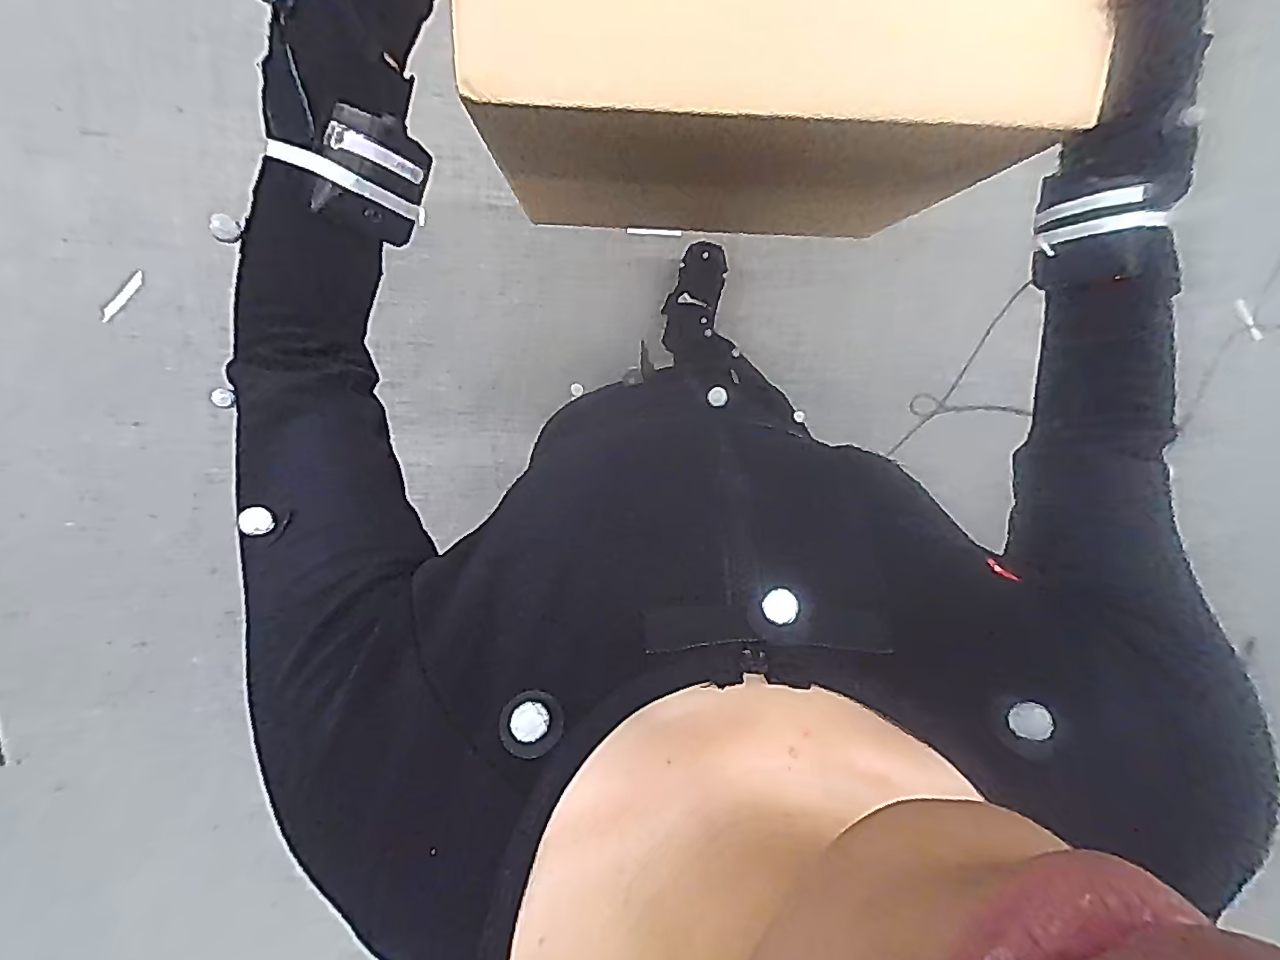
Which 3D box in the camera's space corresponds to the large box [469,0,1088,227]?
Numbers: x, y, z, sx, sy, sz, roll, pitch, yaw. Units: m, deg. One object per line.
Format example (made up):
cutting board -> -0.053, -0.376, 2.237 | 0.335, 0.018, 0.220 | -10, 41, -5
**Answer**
large box -> 0.081, -0.423, 0.466 | 0.408, 0.320, 0.320 | 0, 102, -4
